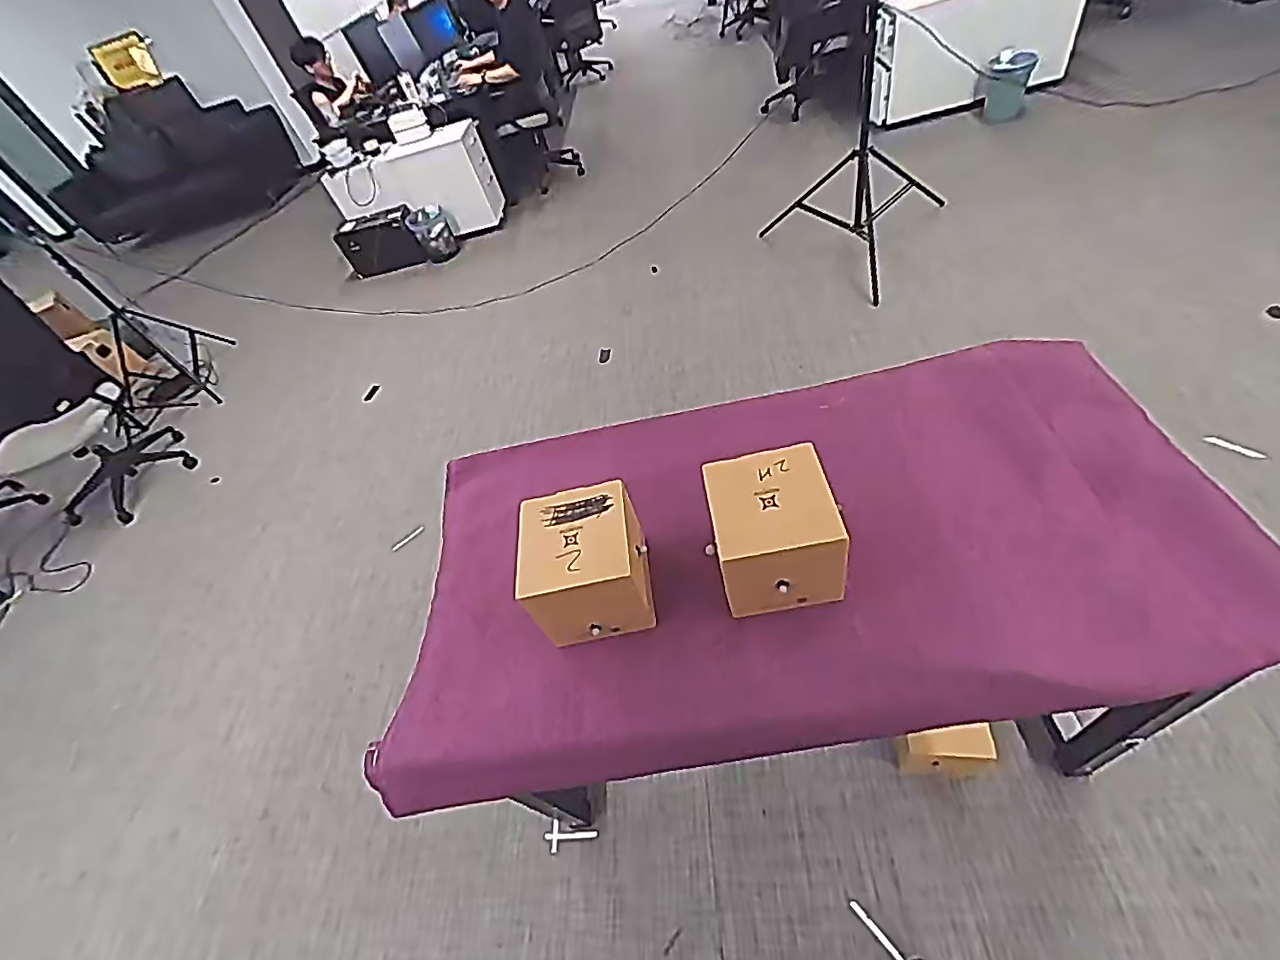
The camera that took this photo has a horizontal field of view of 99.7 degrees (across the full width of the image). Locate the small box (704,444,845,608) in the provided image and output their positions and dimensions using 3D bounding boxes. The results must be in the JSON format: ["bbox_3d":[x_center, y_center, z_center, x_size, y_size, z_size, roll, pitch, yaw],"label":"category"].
[{"bbox_3d":[0.198,0.077,0.809,0.168,0.176,0.179,-11,48,7],"label":"small box"}]

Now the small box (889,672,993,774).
[{"bbox_3d":[0.676,0.558,1.236,0.168,0.176,0.179,-4,49,15],"label":"small box"}]
